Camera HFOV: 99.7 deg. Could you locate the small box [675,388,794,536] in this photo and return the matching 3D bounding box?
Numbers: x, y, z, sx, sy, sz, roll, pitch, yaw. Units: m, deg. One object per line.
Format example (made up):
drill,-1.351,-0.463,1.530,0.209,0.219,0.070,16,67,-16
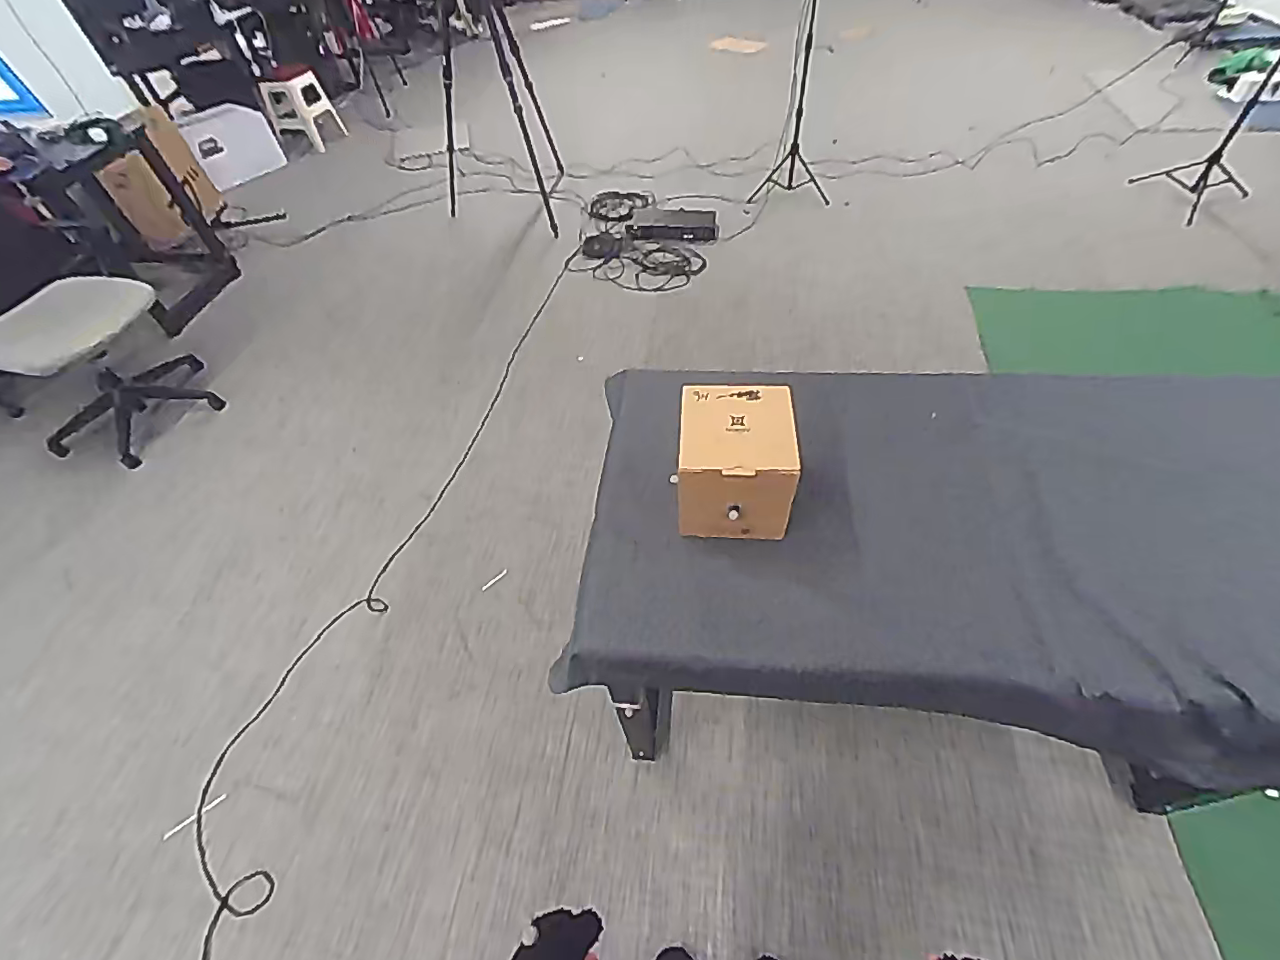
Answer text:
small box,0.145,-0.025,0.854,0.168,0.176,0.179,1,52,7
